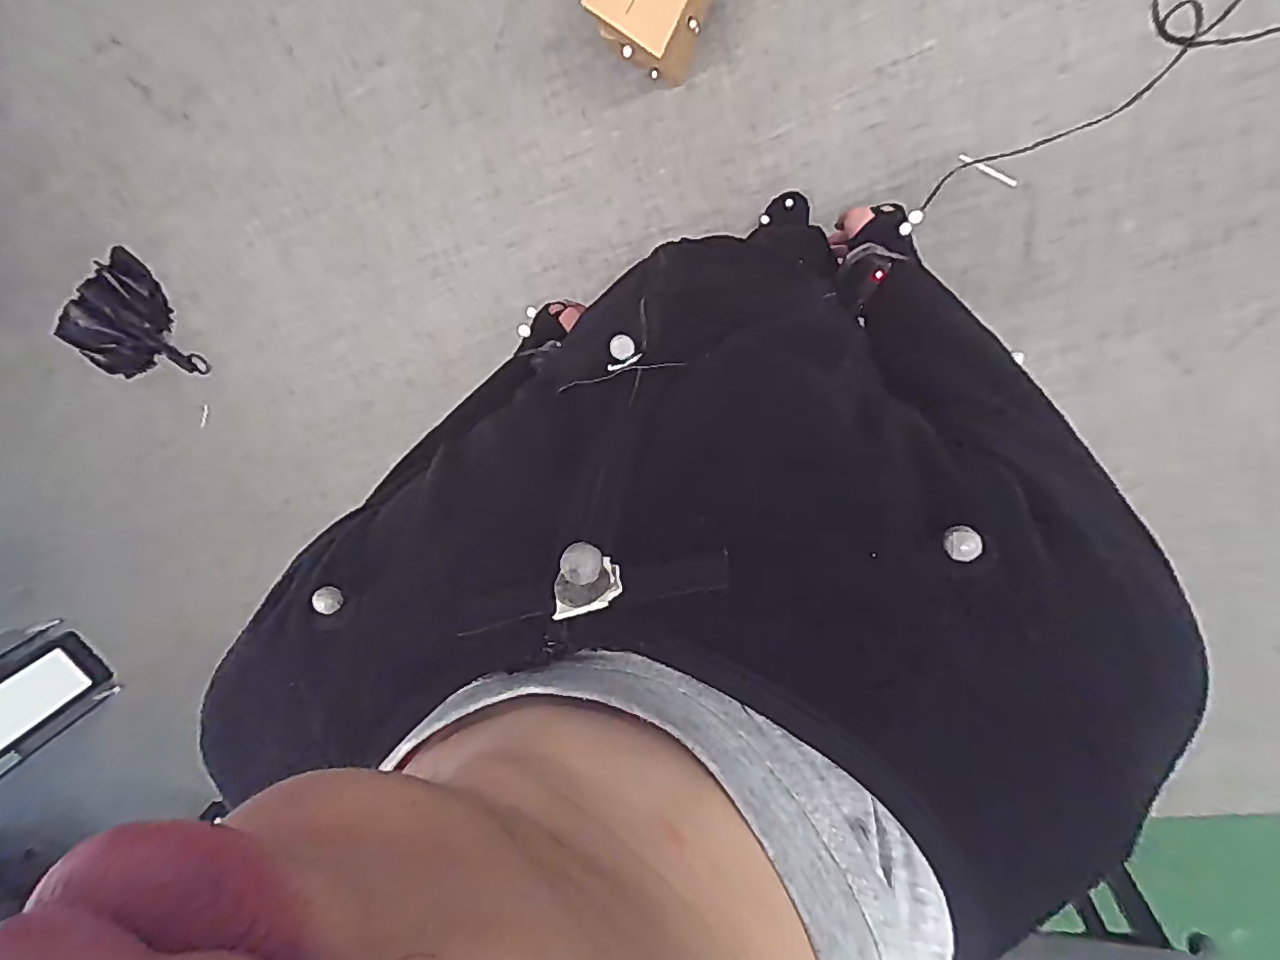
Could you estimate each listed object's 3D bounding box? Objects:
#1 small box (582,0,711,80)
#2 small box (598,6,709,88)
[{"bbox_3d":[0.022,-0.872,0.976,0.168,0.176,0.179,32,118,-5],"label":"small box"},{"bbox_3d":[0.035,-0.953,1.119,0.168,0.176,0.179,25,117,-2],"label":"small box"}]
